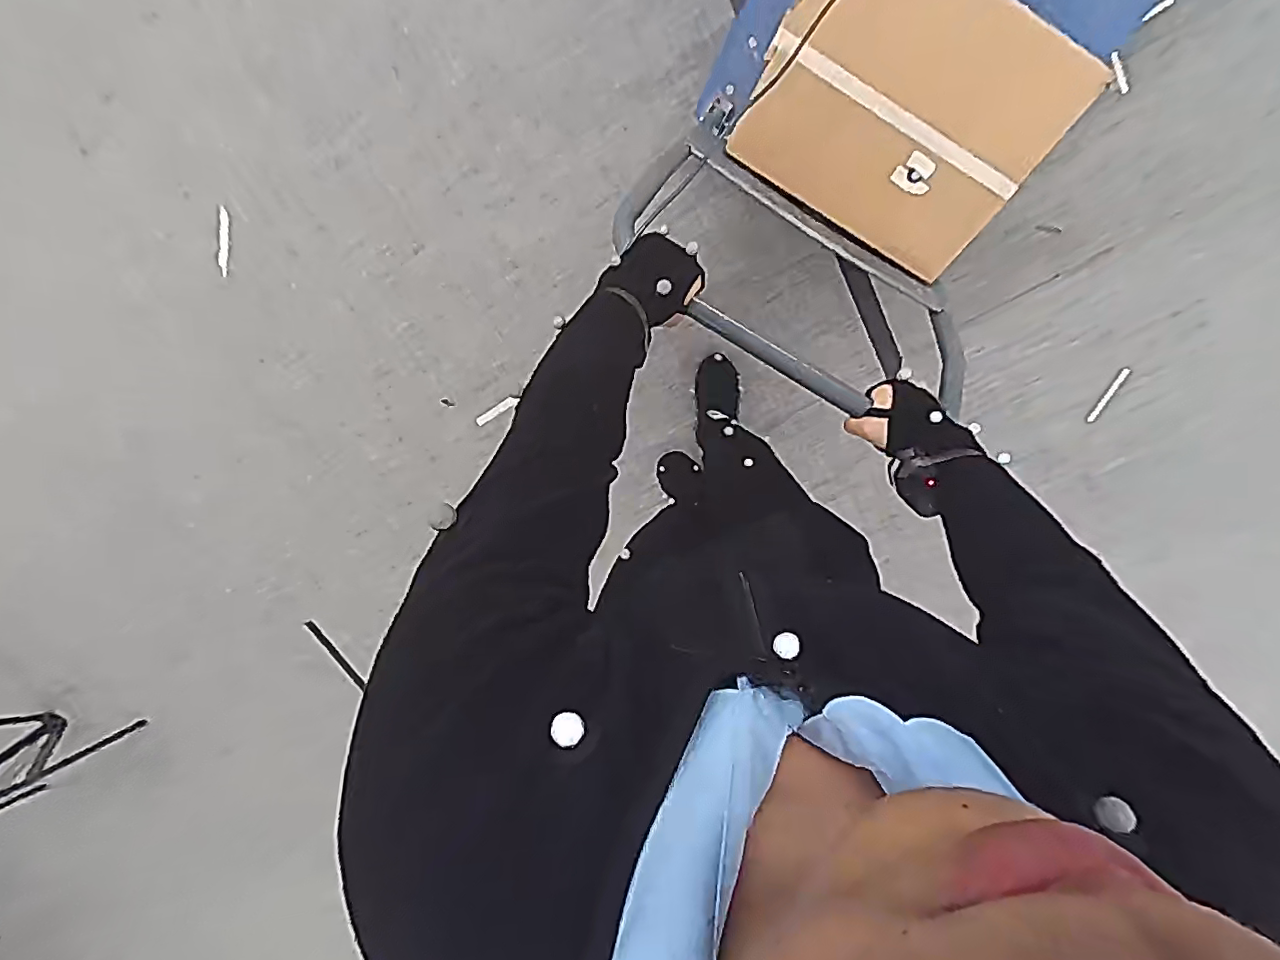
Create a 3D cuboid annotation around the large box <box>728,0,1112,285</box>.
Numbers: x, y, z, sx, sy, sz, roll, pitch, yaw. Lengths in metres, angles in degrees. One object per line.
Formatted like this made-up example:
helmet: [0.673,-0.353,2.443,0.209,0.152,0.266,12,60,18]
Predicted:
large box: [0.404,-0.597,0.882,0.408,0.320,0.320,29,131,-6]
